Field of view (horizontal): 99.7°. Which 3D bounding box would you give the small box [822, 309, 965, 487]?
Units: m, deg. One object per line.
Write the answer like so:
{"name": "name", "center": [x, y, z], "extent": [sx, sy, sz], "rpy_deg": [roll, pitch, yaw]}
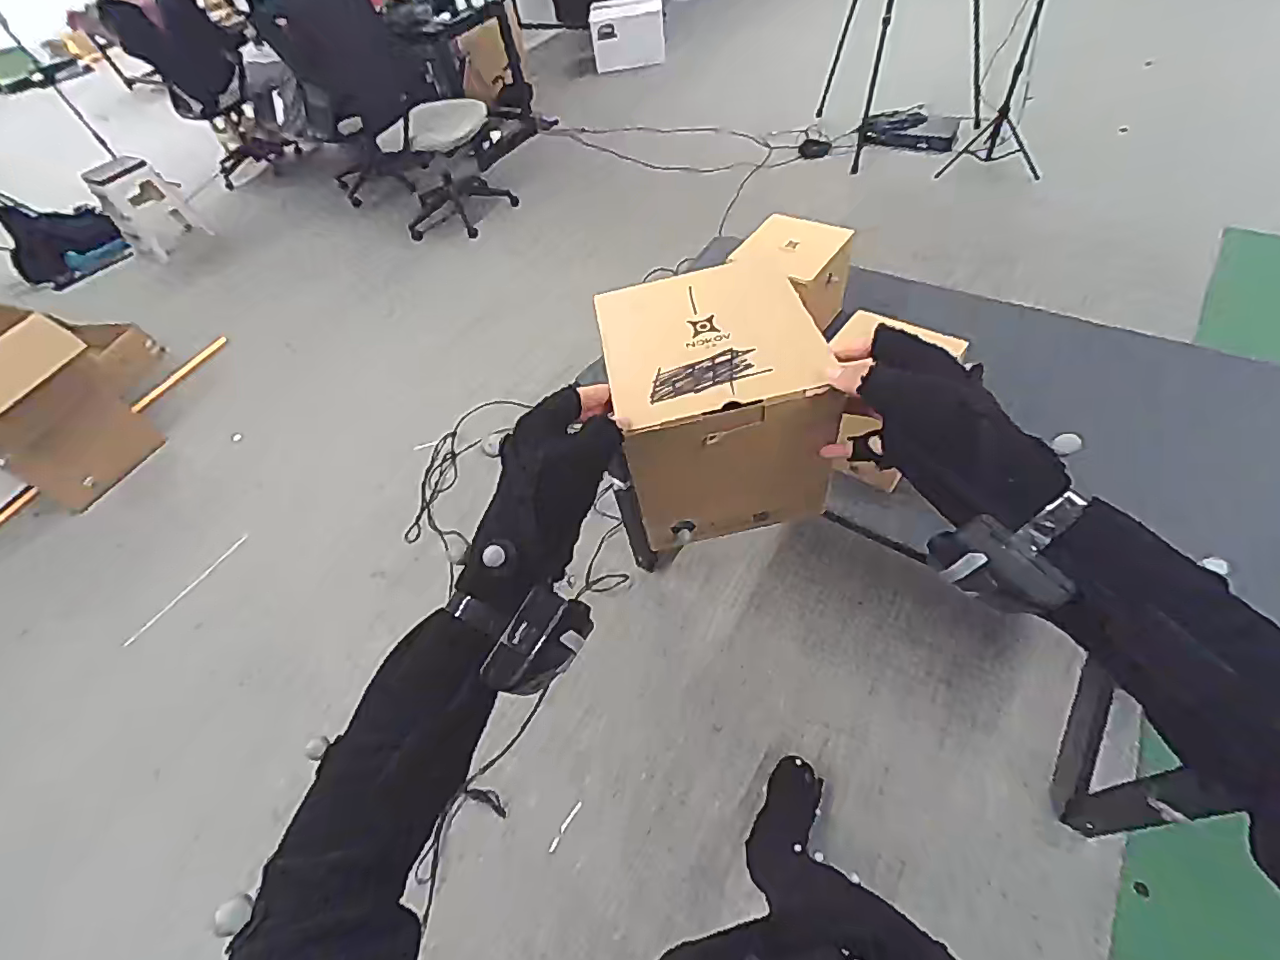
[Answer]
{"name": "small box", "center": [0.354, -0.124, 0.827], "extent": [0.168, 0.176, 0.179], "rpy_deg": [30, 63, 27]}

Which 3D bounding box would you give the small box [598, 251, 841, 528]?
{"name": "small box", "center": [0.064, -0.072, 0.492], "extent": [0.168, 0.176, 0.179], "rpy_deg": [-11, 52, 2]}

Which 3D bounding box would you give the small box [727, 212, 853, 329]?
{"name": "small box", "center": [0.277, -0.375, 1.031], "extent": [0.168, 0.176, 0.179], "rpy_deg": [28, 63, 26]}
